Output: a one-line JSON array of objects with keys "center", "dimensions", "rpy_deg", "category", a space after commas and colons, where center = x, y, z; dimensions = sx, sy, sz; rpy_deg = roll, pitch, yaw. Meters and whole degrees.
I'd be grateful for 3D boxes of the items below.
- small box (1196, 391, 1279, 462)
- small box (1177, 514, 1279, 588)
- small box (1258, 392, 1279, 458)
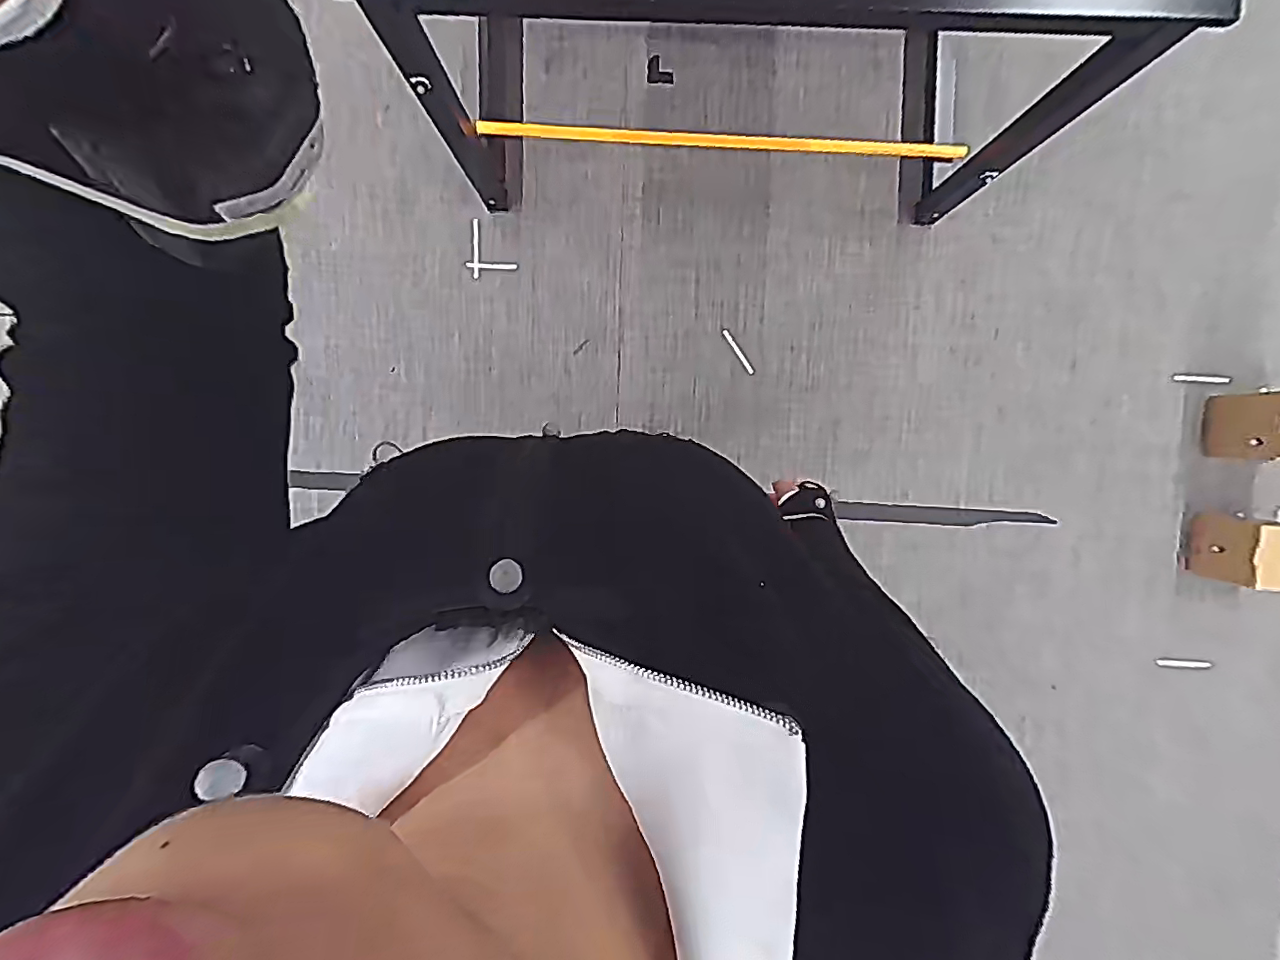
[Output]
[{"center": [1.631, -0.139, 1.422], "dimensions": [0.168, 0.176, 0.179], "rpy_deg": [1, 94, -1], "category": "small box"}, {"center": [1.611, 0.186, 1.450], "dimensions": [0.179, 0.176, 0.168], "rpy_deg": [4, 95, 0], "category": "small box"}, {"center": [1.628, -0.130, 1.260], "dimensions": [0.179, 0.176, 0.168], "rpy_deg": [2, 93, 0], "category": "small box"}]
